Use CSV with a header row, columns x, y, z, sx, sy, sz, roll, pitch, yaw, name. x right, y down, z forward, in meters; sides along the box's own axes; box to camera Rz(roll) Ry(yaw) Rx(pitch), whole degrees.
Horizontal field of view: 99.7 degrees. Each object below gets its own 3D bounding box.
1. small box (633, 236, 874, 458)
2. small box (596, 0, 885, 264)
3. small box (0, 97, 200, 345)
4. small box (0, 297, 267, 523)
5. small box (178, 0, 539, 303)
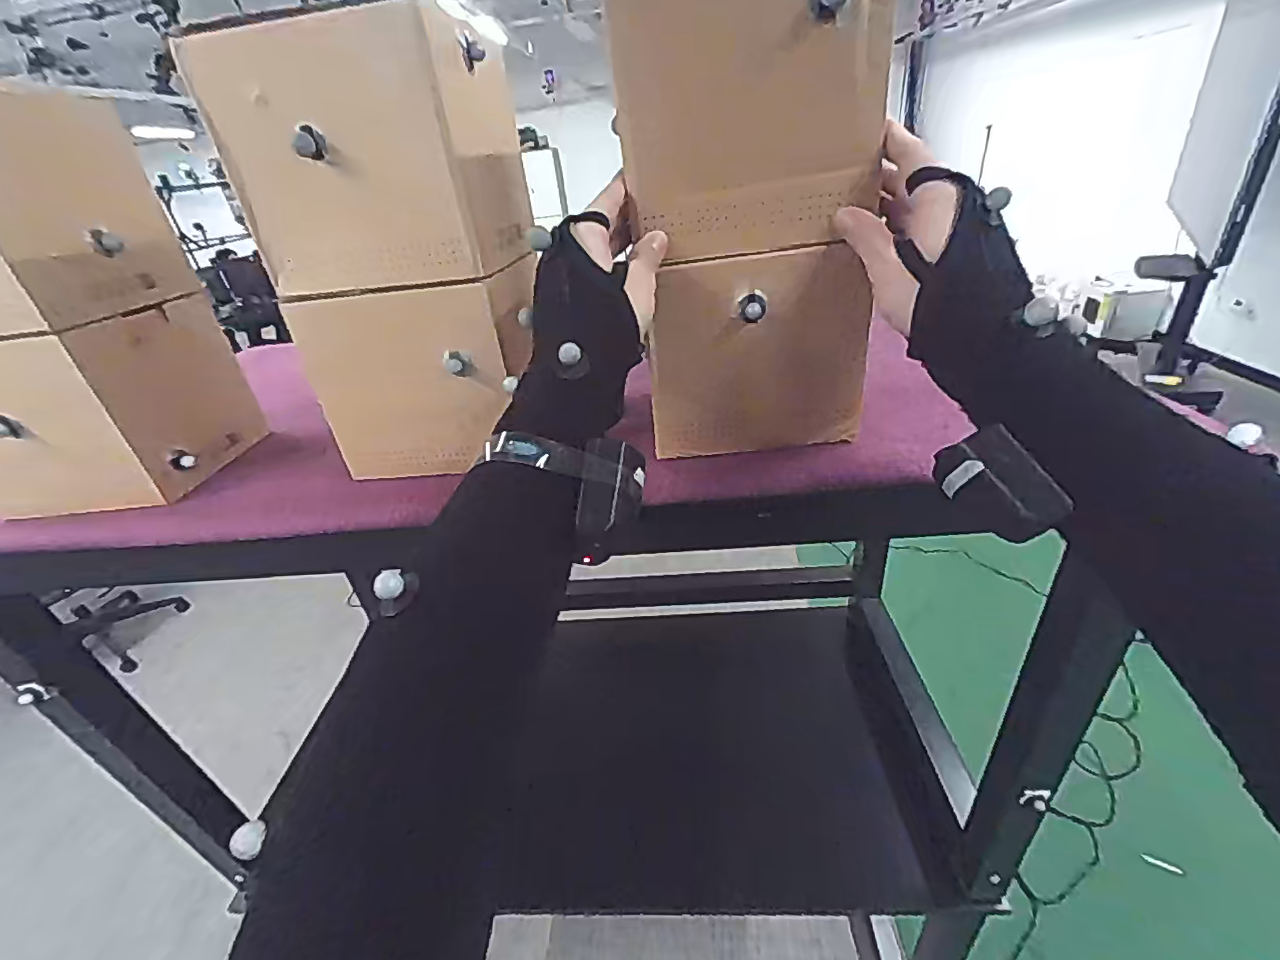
x,y,z,sx,sy,sz,roll,pitch,yaw,name
0.094,-0.130,0.495,0.179,0.176,0.168,-5,31,5,small box
0.076,-0.270,0.416,0.179,0.176,0.168,-3,32,8,small box
-0.551,-0.215,0.466,0.179,0.176,0.168,-5,31,5,small box
-0.533,-0.073,0.547,0.179,0.176,0.168,-6,30,4,small box
-0.201,-0.252,0.447,0.179,0.176,0.168,-4,31,8,small box
